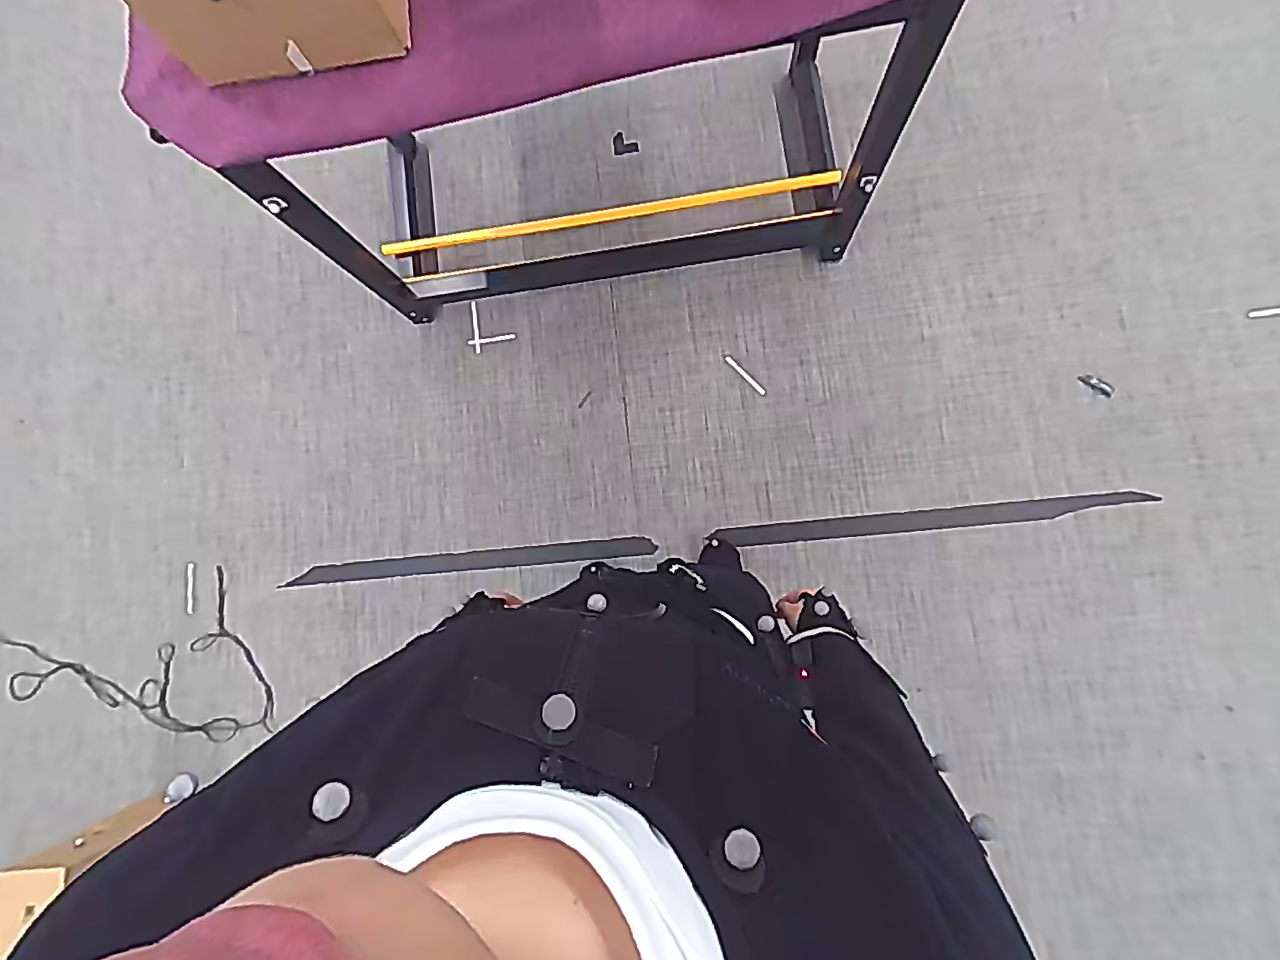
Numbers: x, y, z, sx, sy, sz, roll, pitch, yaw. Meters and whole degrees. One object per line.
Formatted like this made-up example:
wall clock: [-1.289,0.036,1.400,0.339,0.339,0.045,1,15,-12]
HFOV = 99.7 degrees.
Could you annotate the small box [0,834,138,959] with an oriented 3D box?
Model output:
small box: [-1.234,0.893,1.164,0.168,0.176,0.179,-7,84,5]

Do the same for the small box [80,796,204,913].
small box: [-1.219,0.910,1.327,0.168,0.176,0.179,-1,83,5]
